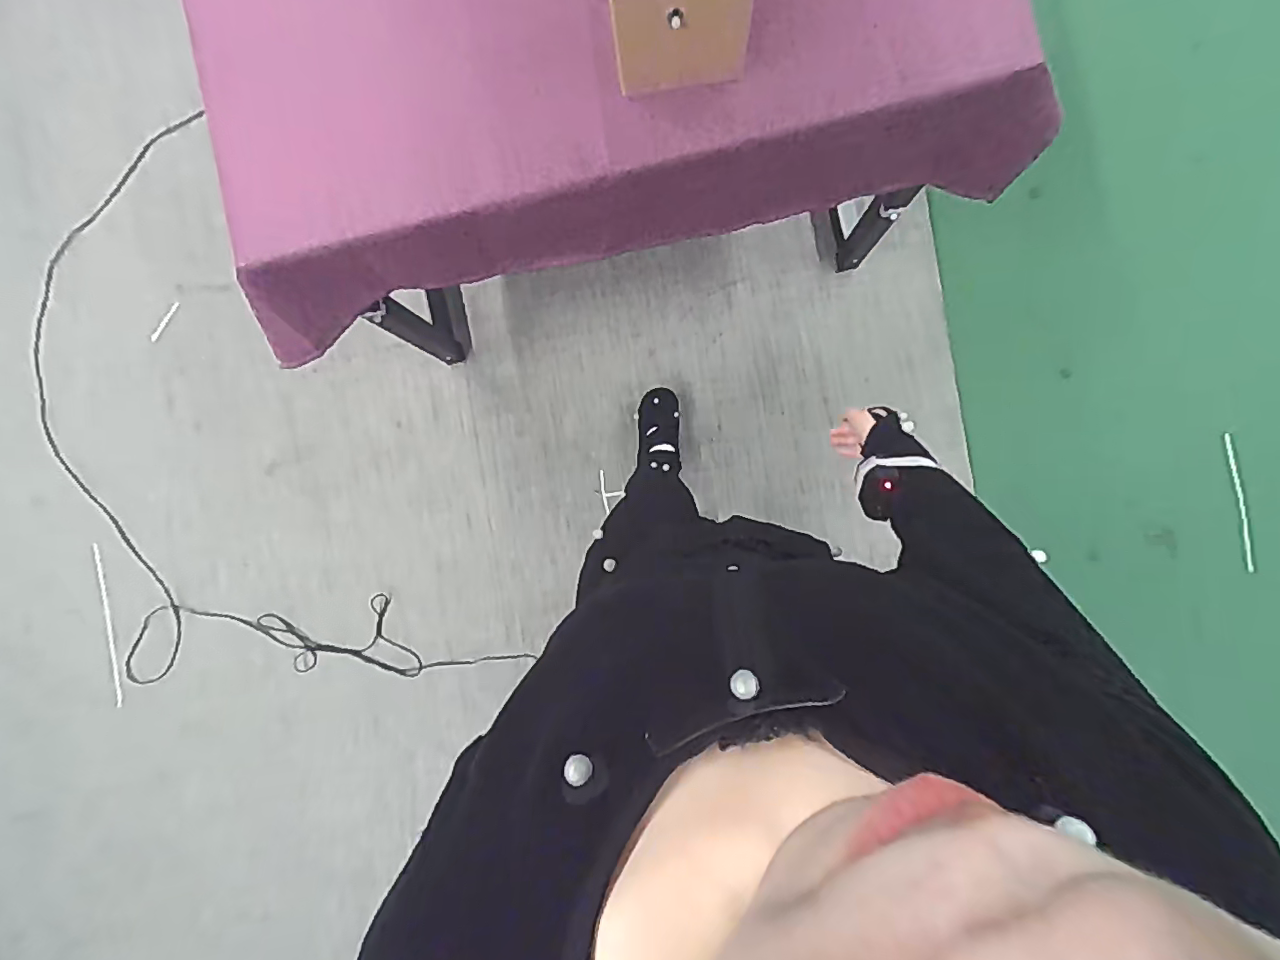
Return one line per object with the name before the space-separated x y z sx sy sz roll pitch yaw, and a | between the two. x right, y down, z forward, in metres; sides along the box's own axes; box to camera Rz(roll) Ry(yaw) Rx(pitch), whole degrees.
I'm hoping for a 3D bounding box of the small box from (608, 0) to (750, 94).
small box | 0.048 -0.647 0.707 0.179 0.176 0.168 -6 89 4
